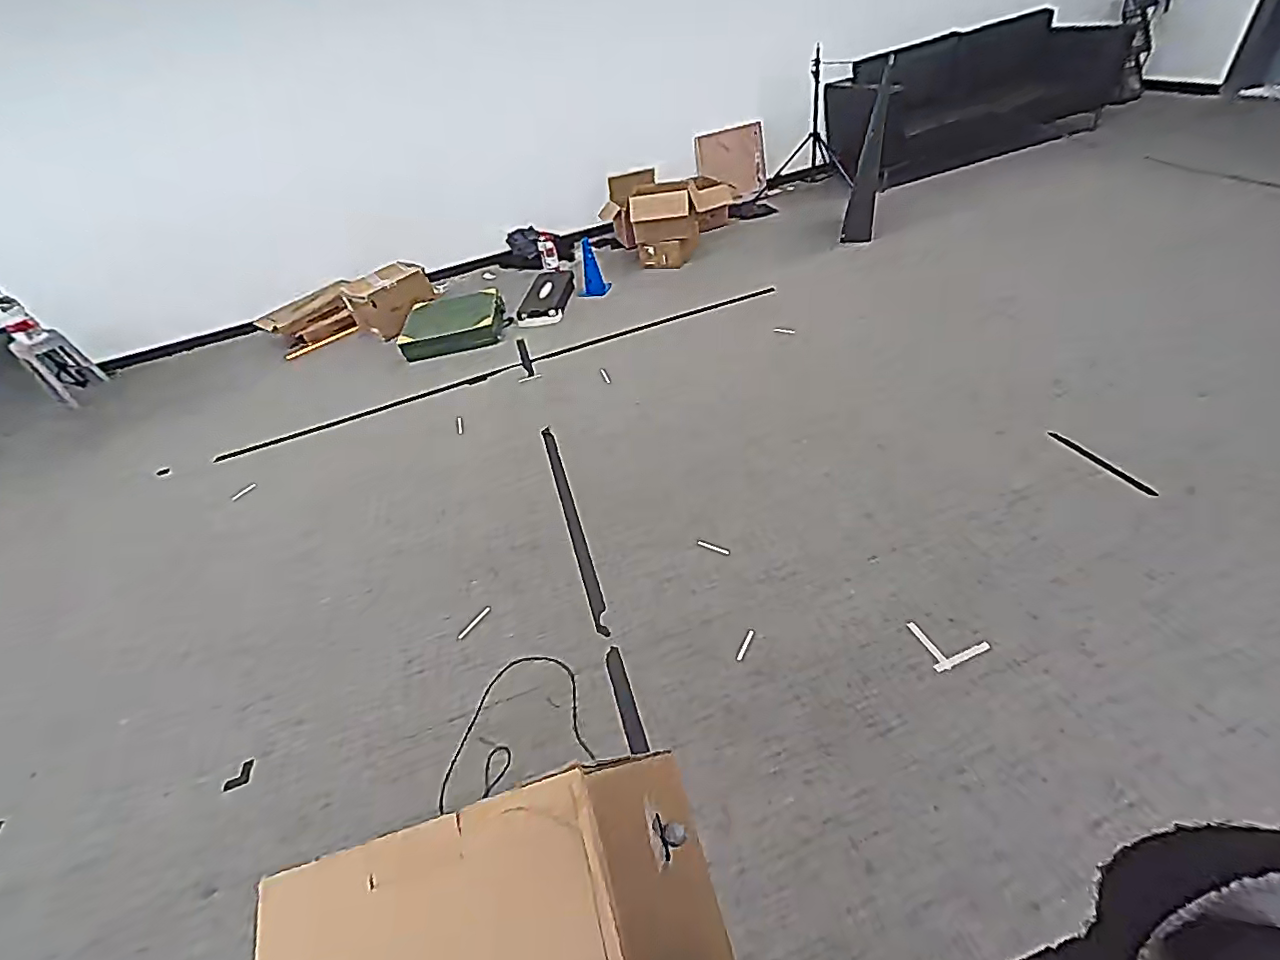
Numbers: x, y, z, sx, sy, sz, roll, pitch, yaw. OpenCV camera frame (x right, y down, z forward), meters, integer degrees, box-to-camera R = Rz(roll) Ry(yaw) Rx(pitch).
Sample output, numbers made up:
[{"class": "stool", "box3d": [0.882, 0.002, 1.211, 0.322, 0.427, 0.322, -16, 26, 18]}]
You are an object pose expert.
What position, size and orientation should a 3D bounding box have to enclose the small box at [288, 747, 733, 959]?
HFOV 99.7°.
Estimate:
[{"class": "small box", "box3d": [-0.048, 0.262, 0.288, 0.168, 0.179, 0.176, -23, 61, 7]}]
